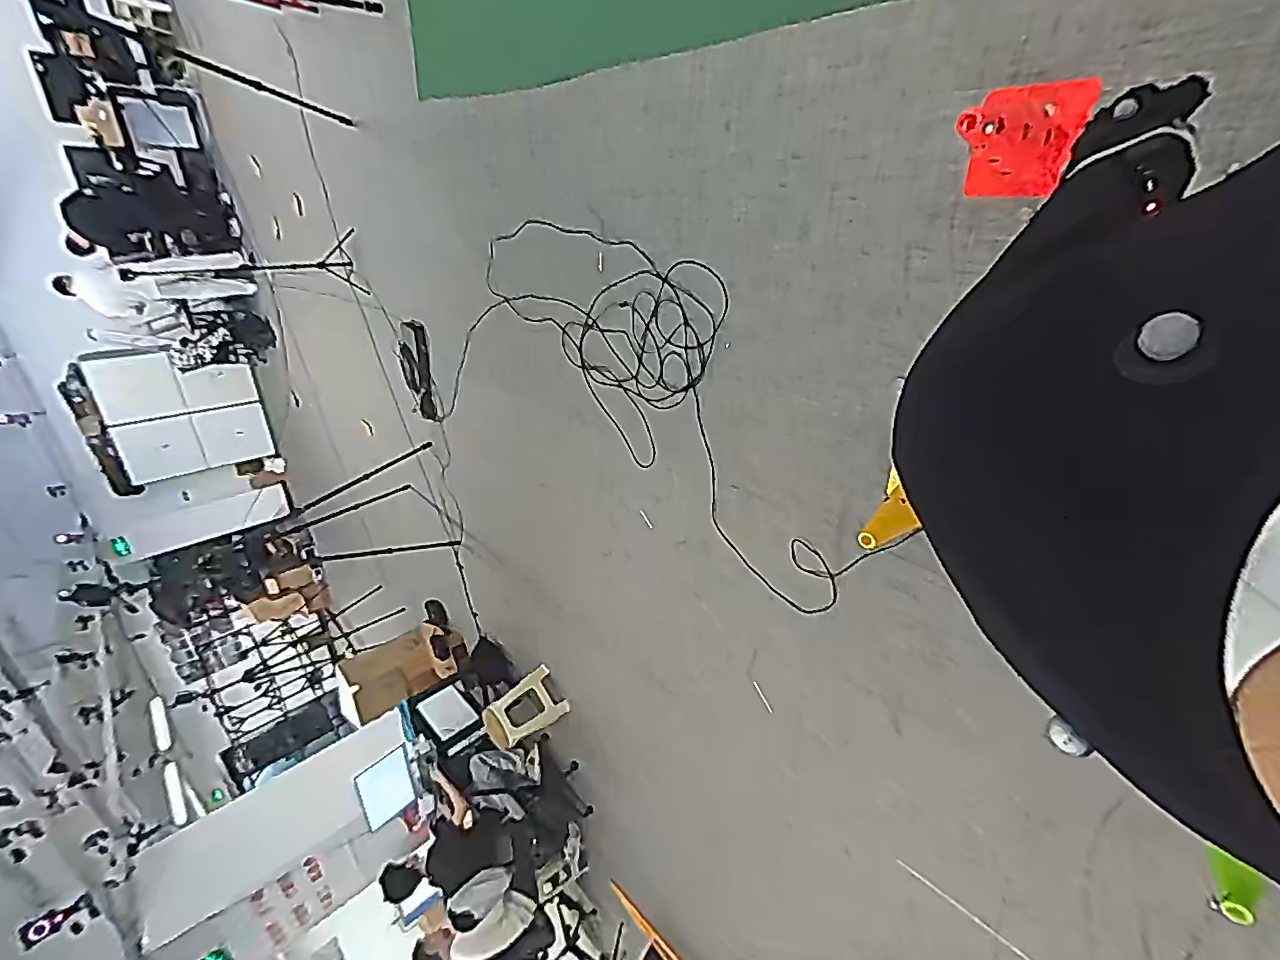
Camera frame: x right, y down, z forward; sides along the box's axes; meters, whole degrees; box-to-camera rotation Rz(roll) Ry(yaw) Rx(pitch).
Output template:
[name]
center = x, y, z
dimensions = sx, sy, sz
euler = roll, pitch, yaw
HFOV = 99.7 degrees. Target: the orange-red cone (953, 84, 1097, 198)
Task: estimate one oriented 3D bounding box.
[orange-red cone]
center = 0.675, -0.644, 1.015
dimensions = 0.198, 0.360, 0.199
euler = 27, 127, 40
